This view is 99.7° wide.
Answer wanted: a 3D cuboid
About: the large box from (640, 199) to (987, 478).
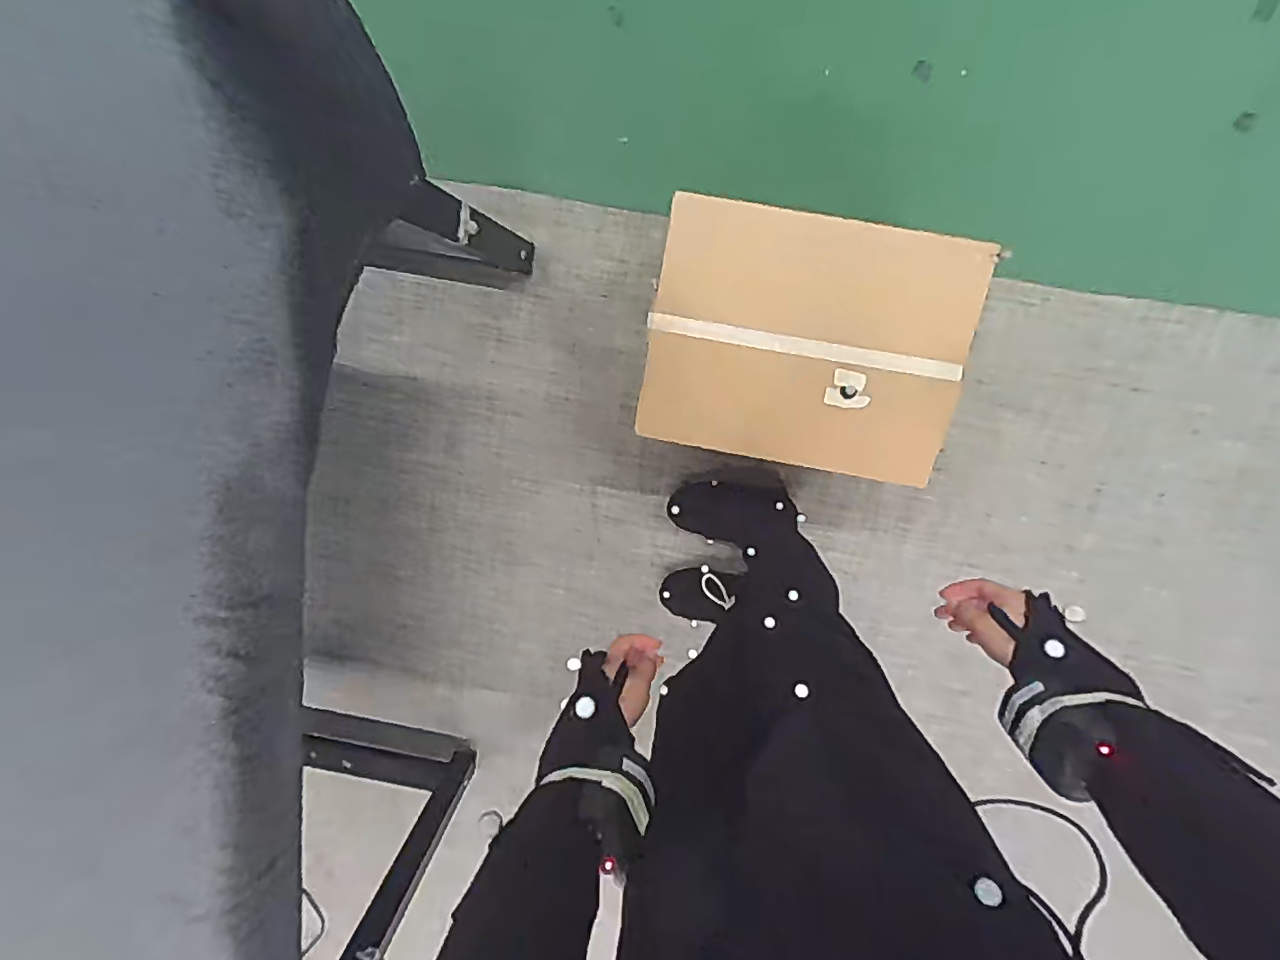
[{"bbox_3d":[0.224,-0.211,0.855,0.408,0.320,0.320,10,104,2],"label":"large box"}]
